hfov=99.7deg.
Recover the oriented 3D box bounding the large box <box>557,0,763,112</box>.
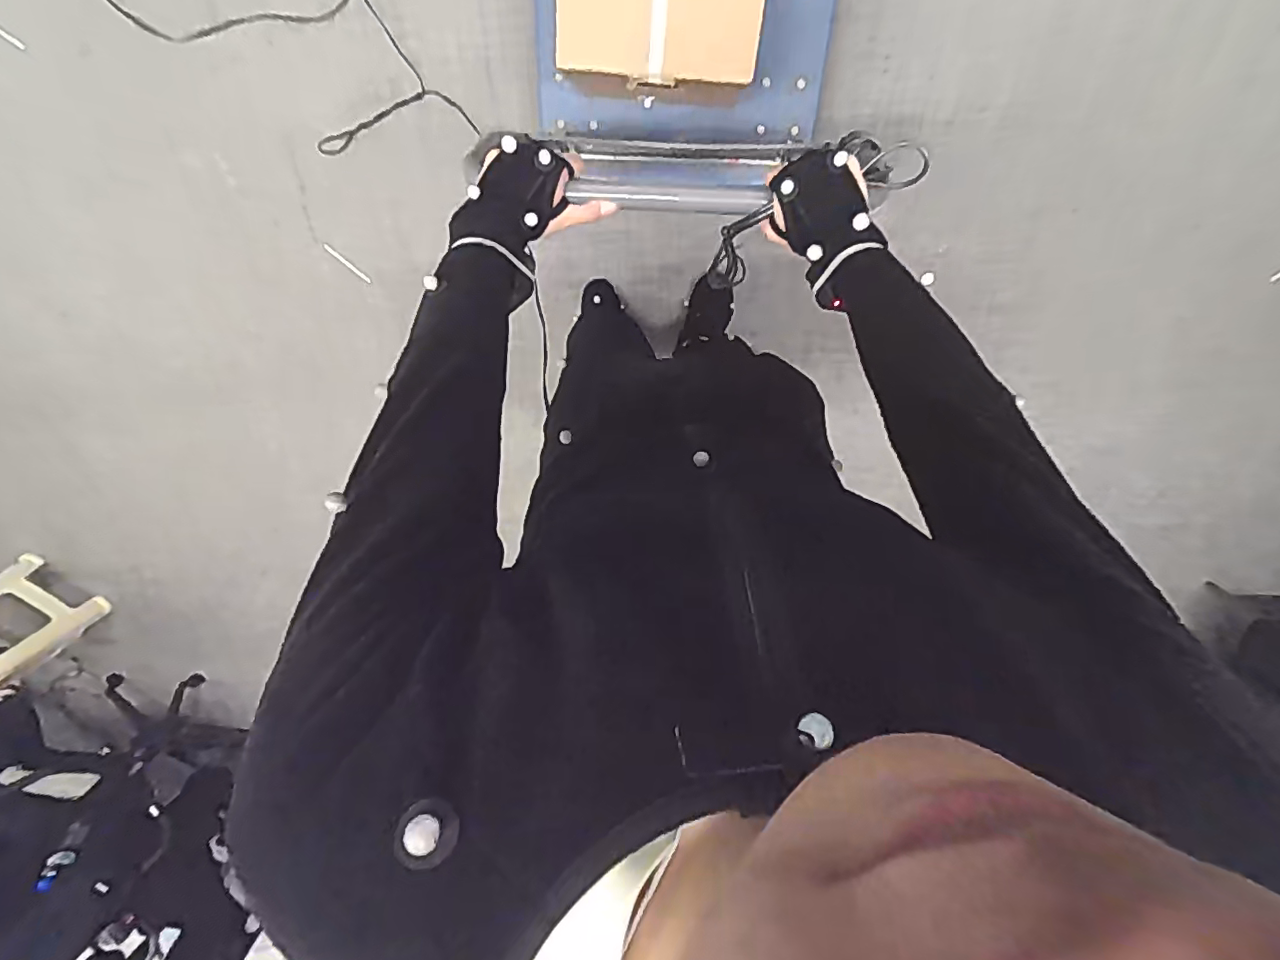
[{"bbox_3d":[0.046,-0.876,0.897,0.320,0.320,0.408,6,118,1],"label":"large box"}]
